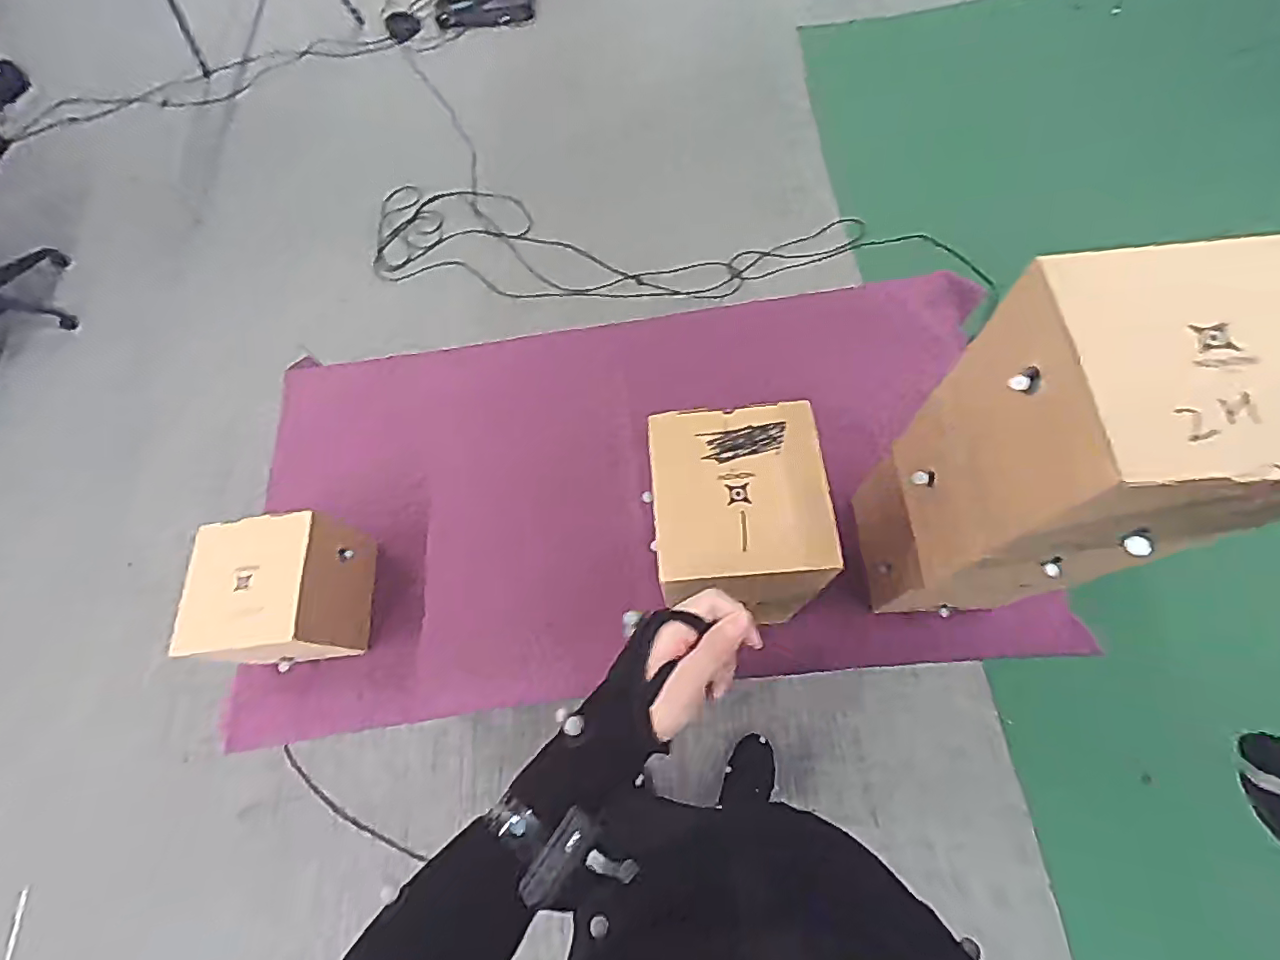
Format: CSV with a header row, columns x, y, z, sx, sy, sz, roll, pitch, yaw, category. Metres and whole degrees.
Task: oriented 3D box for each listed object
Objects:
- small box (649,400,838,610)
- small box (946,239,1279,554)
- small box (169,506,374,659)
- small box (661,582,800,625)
x,y,z,sx,sy,sz,roll,pitch,yaw,category
0.099,0.035,0.588,0.168,0.176,0.179,-5,67,5,small box
0.363,-0.050,0.413,0.168,0.176,0.179,-3,68,6,small box
-0.509,0.154,0.779,0.168,0.176,0.179,-7,67,3,small box
0.114,0.100,0.739,0.168,0.176,0.179,-5,66,4,small box
